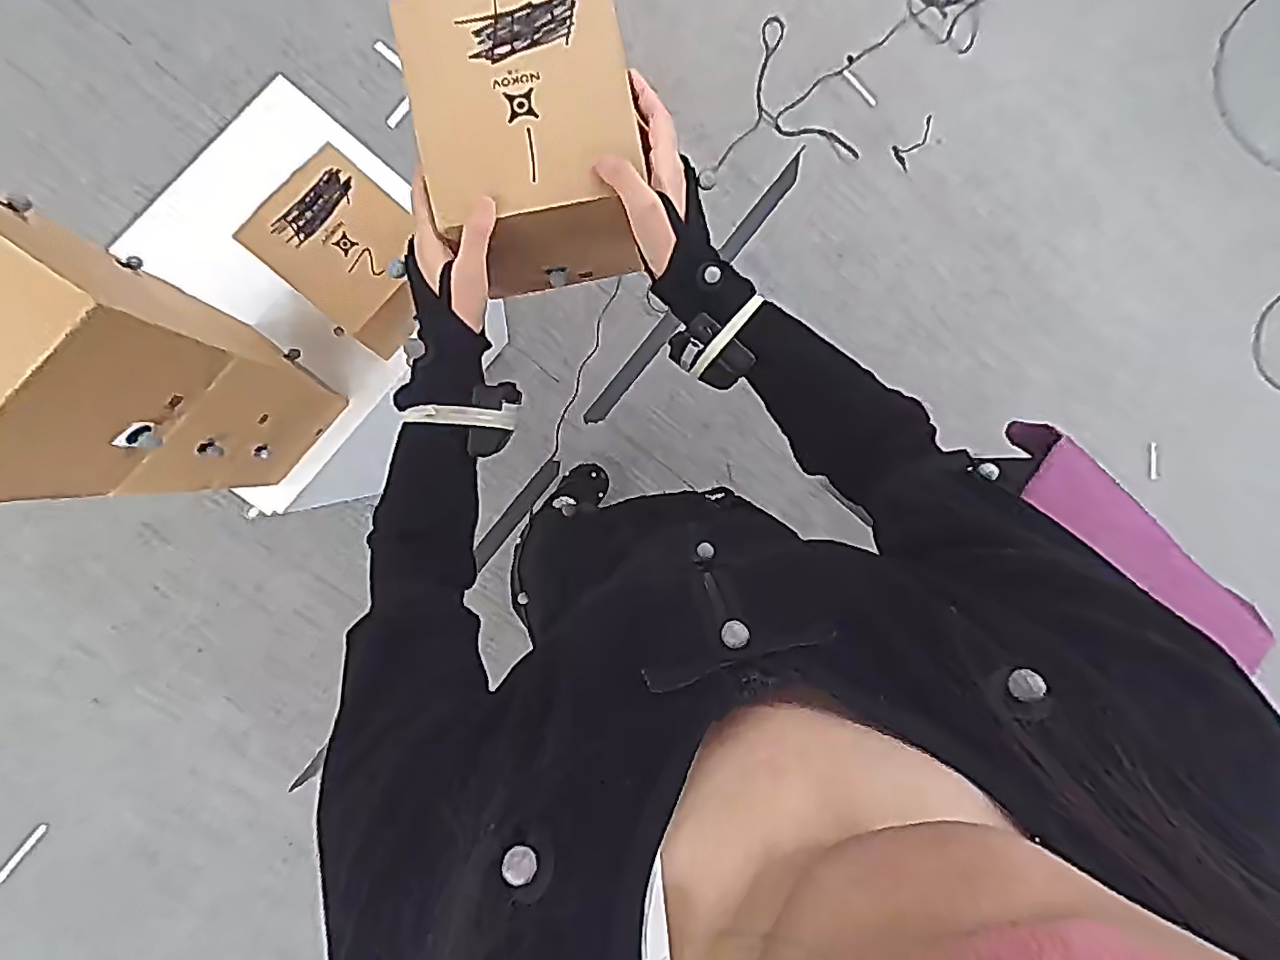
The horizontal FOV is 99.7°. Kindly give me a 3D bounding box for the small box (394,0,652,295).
[{"bbox_3d":[-0.089,-0.287,0.478,0.168,0.176,0.179,-11,92,-1],"label":"small box"}]

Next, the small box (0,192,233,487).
[{"bbox_3d":[-0.460,-0.103,0.388,0.179,0.176,0.168,38,85,-11],"label":"small box"}]

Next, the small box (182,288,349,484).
[{"bbox_3d":[-0.527,-0.109,0.706,0.179,0.176,0.168,39,84,-9],"label":"small box"}]

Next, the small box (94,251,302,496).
[{"bbox_3d":[-0.493,-0.104,0.548,0.179,0.176,0.168,38,84,-10],"label":"small box"}]
